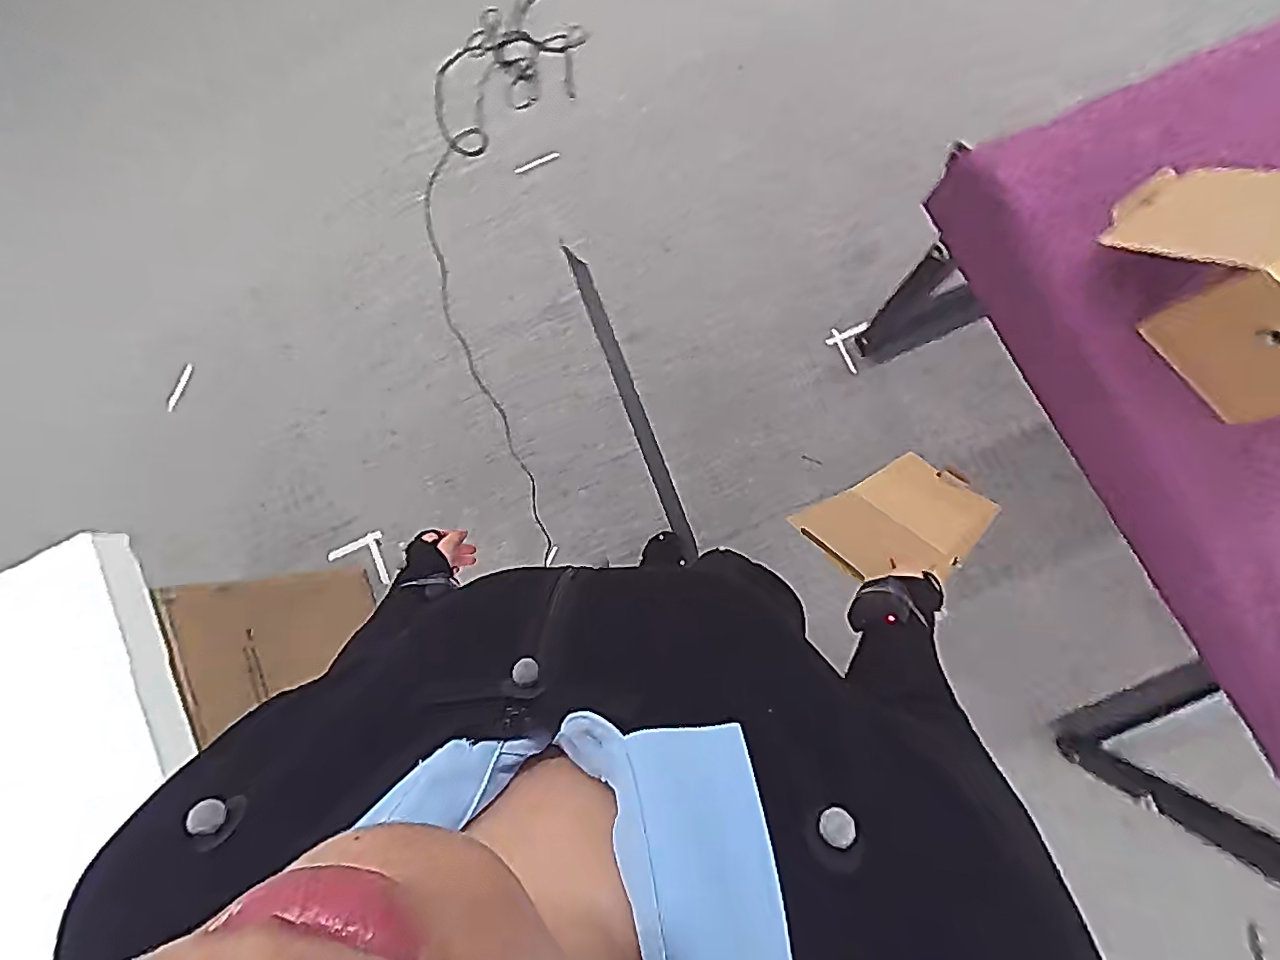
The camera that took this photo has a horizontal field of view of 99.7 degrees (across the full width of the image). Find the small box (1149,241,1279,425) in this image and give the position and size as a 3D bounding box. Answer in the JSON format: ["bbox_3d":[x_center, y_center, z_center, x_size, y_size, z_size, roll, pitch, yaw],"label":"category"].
[{"bbox_3d":[0.780,-0.189,0.636,0.168,0.176,0.179,-36,82,1],"label":"small box"}]
